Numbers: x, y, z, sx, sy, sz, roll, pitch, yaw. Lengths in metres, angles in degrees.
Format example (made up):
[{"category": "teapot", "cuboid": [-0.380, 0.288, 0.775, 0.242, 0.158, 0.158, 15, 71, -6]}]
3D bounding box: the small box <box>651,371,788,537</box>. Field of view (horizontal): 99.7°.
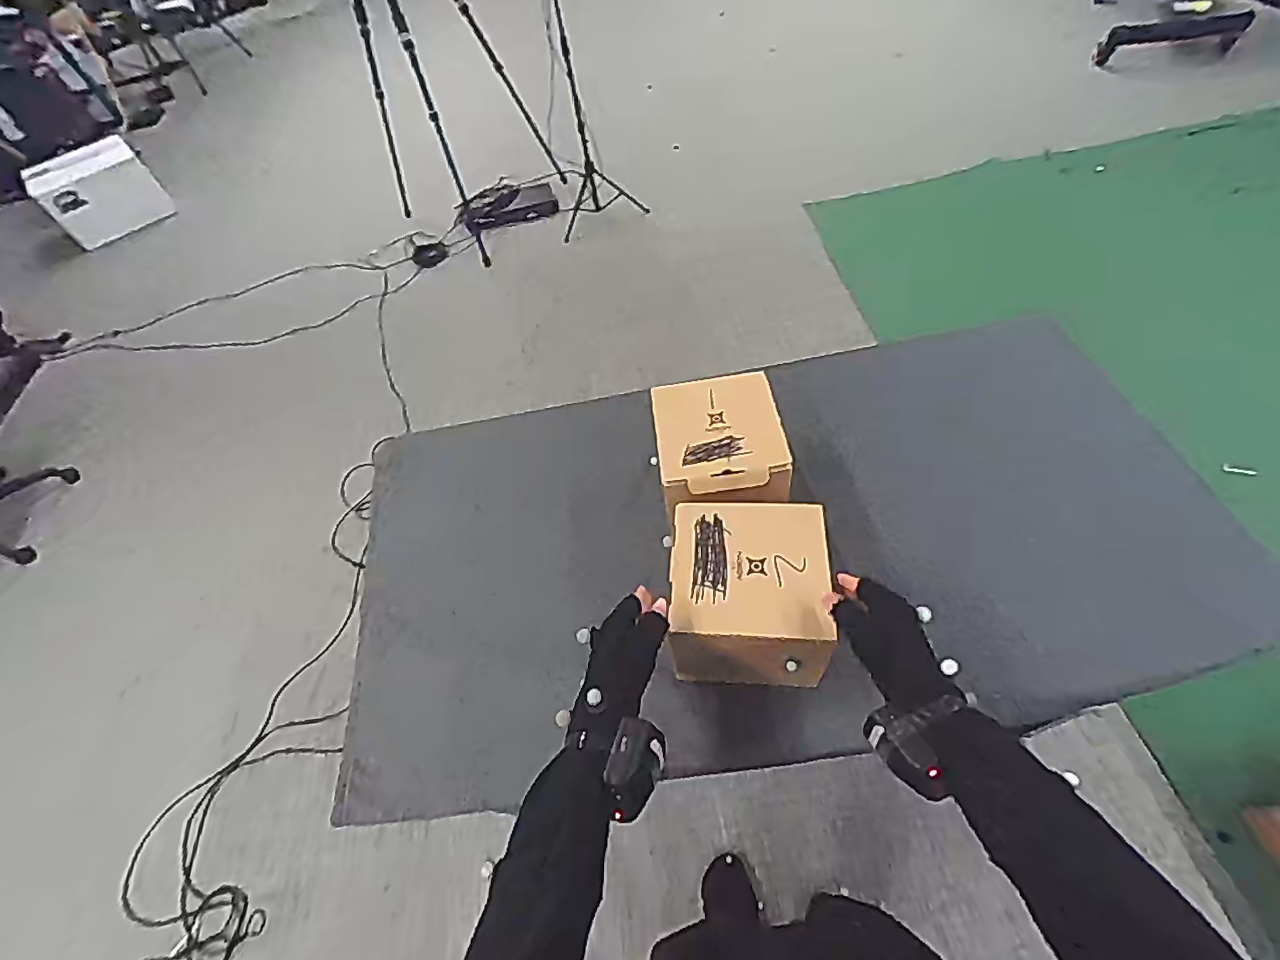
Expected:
[{"category": "small box", "cuboid": [0.112, -0.029, 0.790, 0.168, 0.176, 0.179, -7, 54, 4]}]
